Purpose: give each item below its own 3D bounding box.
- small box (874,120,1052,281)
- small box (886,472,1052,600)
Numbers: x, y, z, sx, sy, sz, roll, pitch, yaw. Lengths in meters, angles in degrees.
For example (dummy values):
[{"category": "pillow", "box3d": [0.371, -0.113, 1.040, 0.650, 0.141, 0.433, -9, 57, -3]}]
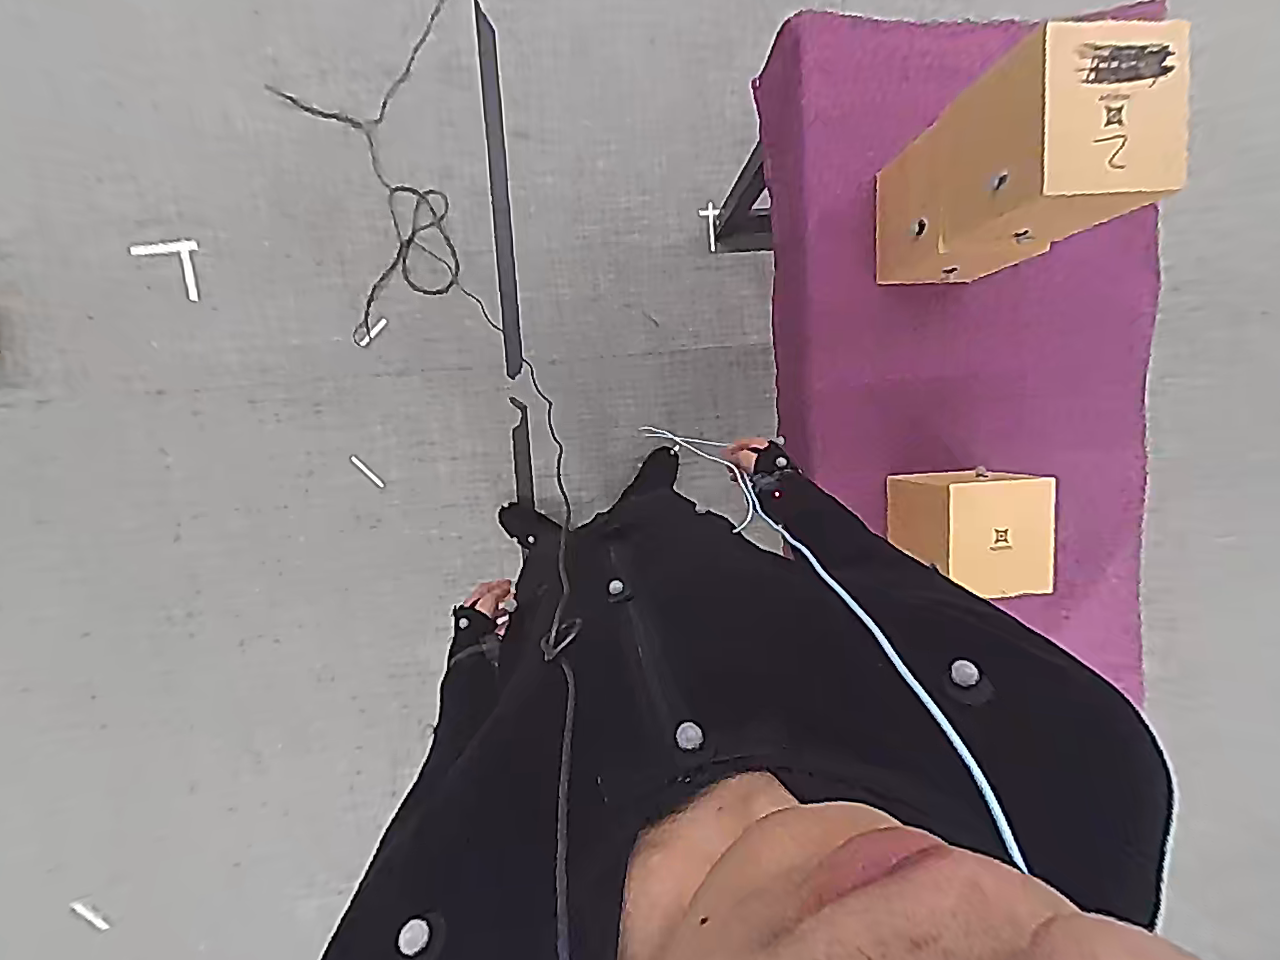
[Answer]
[{"category": "small box", "box3d": [0.473, -0.406, 0.815, 0.168, 0.176, 0.179, -3, 96, -5]}, {"category": "small box", "box3d": [0.515, 0.078, 0.866, 0.168, 0.176, 0.179, -4, 96, -5]}]
